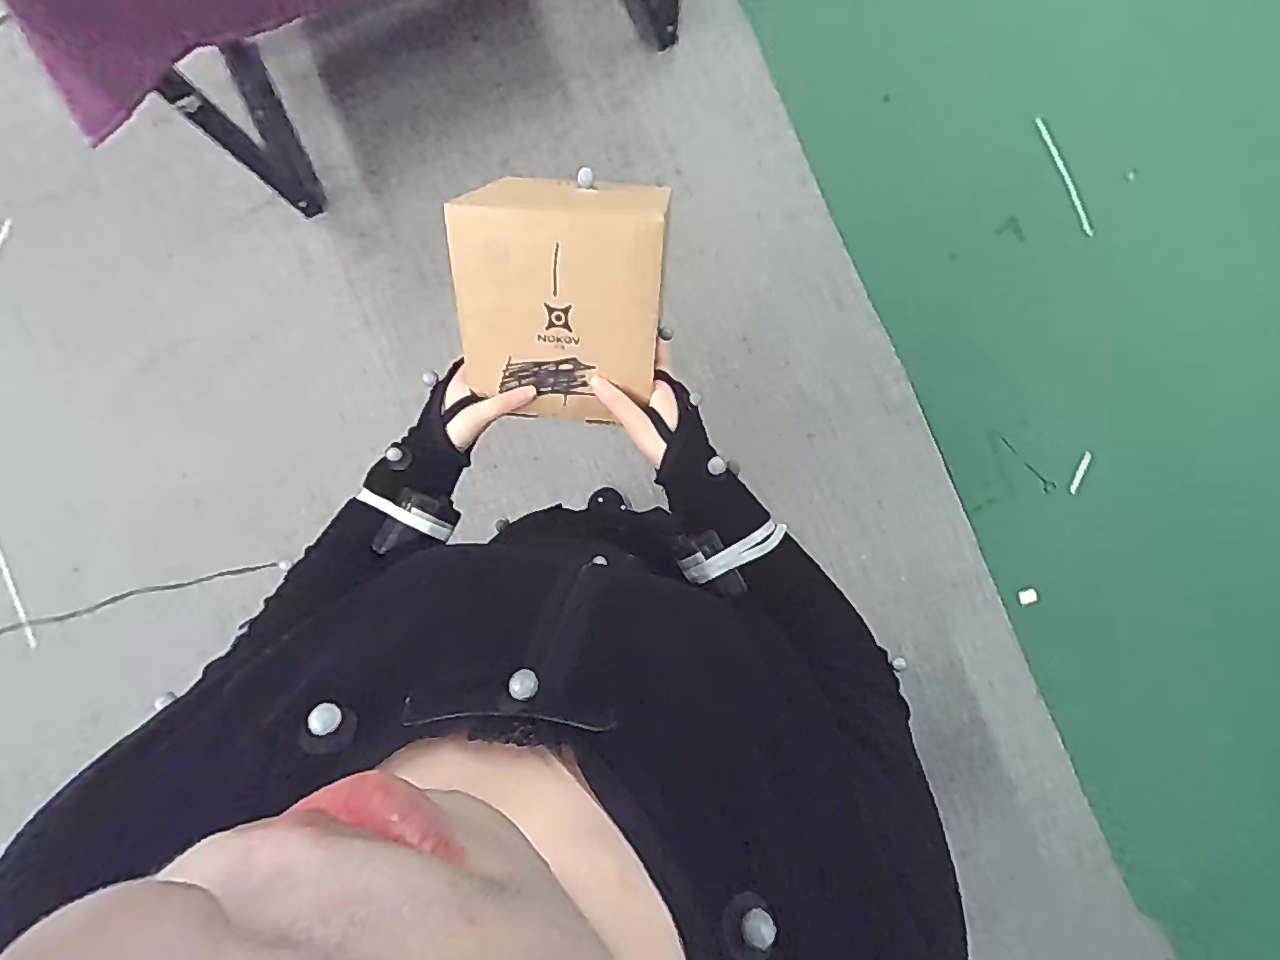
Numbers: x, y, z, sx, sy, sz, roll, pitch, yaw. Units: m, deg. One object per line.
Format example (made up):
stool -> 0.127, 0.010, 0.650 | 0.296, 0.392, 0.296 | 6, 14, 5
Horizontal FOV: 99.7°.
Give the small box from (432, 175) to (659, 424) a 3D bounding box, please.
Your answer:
small box -> -0.071, -0.174, 0.508 | 0.168, 0.176, 0.179 | 5, 125, 2
